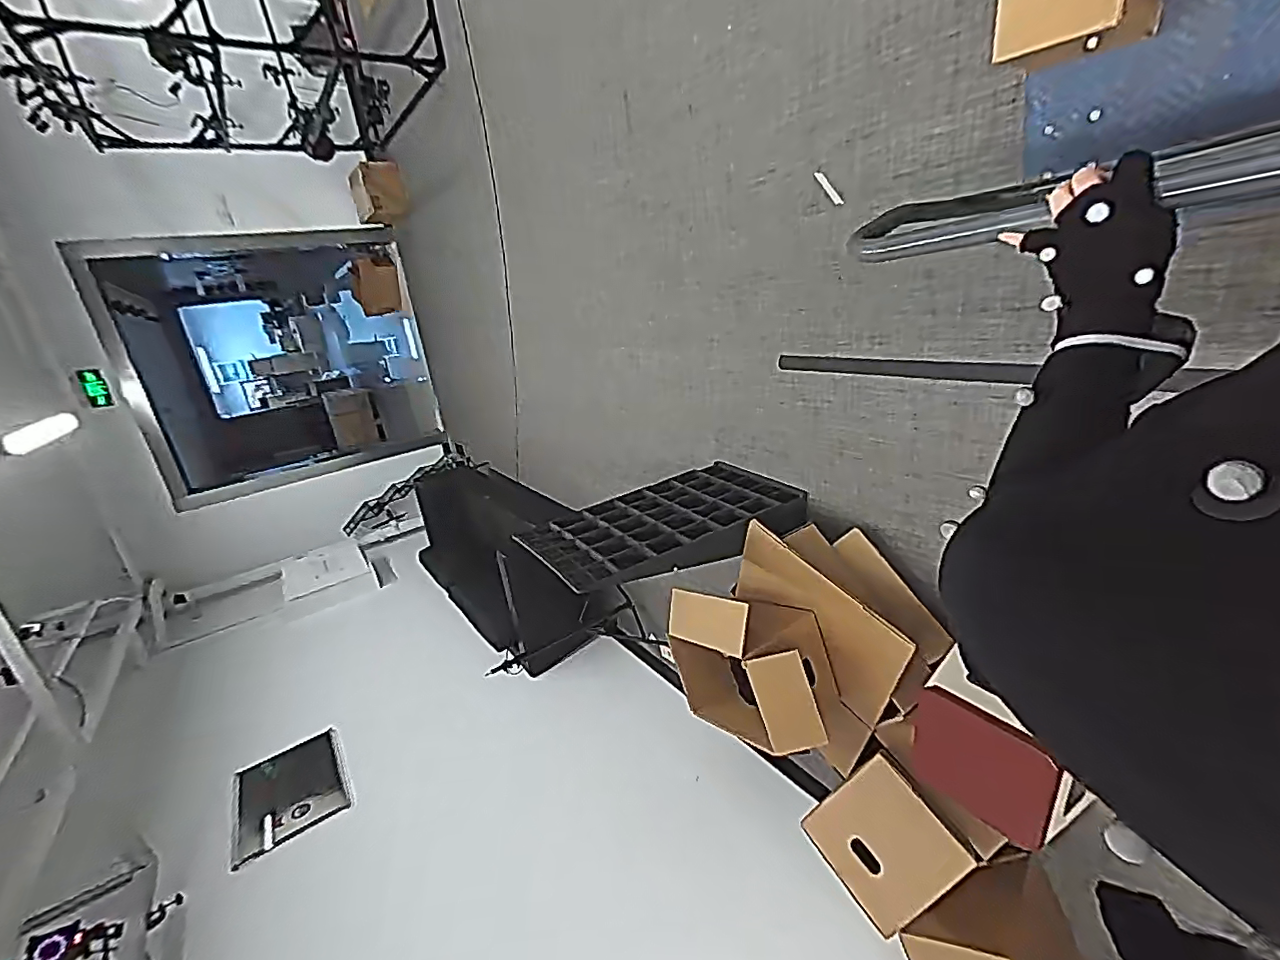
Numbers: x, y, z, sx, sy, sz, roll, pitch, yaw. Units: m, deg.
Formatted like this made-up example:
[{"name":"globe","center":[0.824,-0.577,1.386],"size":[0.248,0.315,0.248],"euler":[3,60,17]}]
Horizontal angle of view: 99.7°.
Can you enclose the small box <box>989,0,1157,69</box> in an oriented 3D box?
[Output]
[{"name":"small box","center":[0.705,-0.794,0.873],"size":[0.179,0.176,0.168],"euler":[21,125,50]}]
